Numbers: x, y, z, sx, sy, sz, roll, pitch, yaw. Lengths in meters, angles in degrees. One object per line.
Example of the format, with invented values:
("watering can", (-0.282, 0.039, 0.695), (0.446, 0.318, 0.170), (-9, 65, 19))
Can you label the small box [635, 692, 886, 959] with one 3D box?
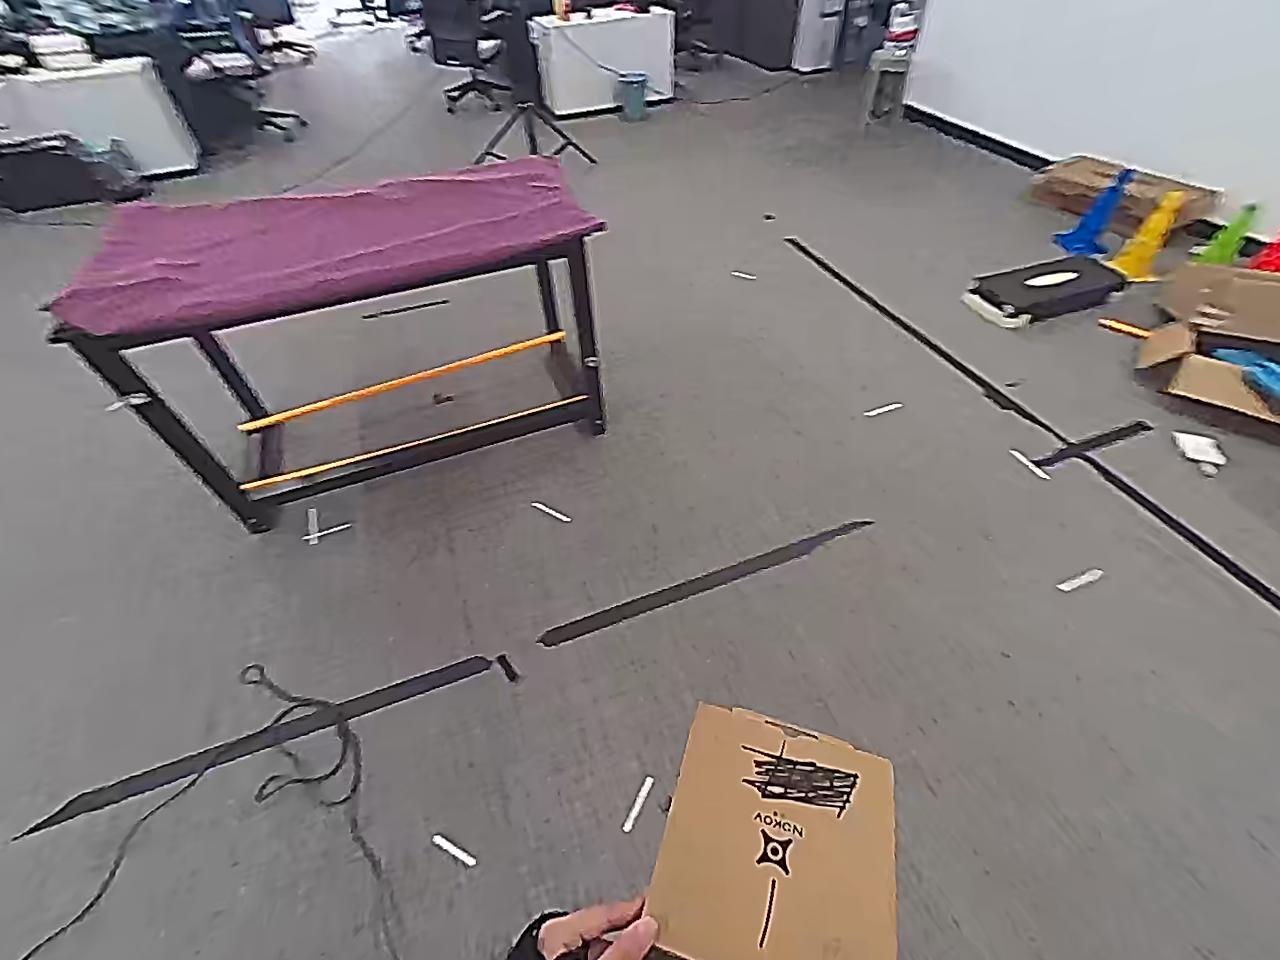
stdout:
("small box", (0.097, 0.322, 0.456), (0.168, 0.176, 0.179), (12, 40, 15))
